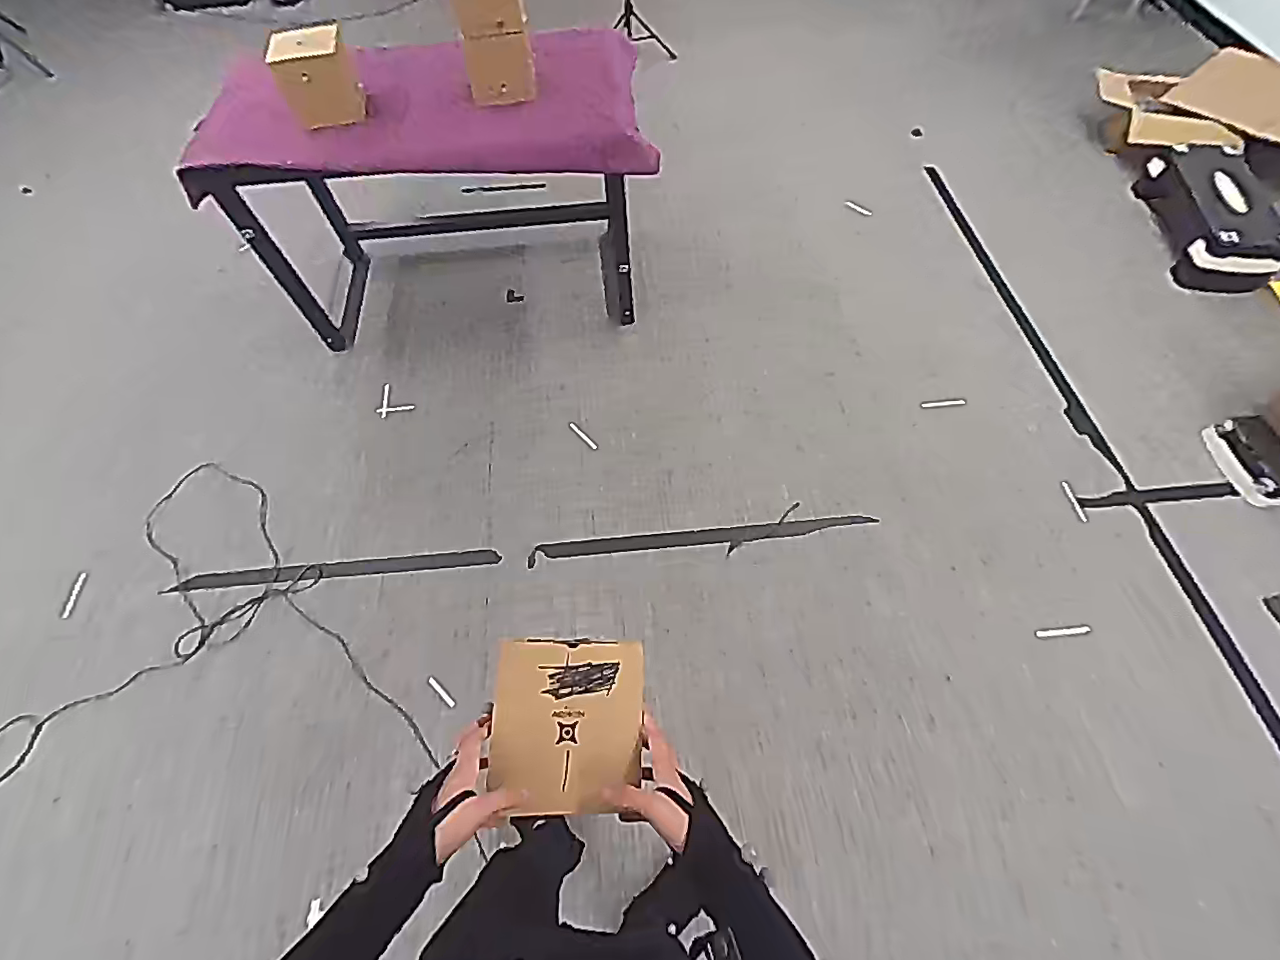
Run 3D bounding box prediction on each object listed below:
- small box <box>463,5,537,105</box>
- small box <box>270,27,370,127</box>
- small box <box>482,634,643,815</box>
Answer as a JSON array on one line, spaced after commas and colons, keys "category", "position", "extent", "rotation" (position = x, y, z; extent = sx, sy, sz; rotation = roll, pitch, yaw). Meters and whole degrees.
[{"category": "small box", "position": [-0.388, -1.195, 1.526], "extent": [0.179, 0.176, 0.168], "rotation": [-8, 61, -3]}, {"category": "small box", "position": [-0.875, -1.106, 1.492], "extent": [0.179, 0.176, 0.168], "rotation": [-12, 61, -5]}, {"category": "small box", "position": [-0.094, 0.283, 0.654], "extent": [0.168, 0.176, 0.179], "rotation": [4, 72, -10]}]
